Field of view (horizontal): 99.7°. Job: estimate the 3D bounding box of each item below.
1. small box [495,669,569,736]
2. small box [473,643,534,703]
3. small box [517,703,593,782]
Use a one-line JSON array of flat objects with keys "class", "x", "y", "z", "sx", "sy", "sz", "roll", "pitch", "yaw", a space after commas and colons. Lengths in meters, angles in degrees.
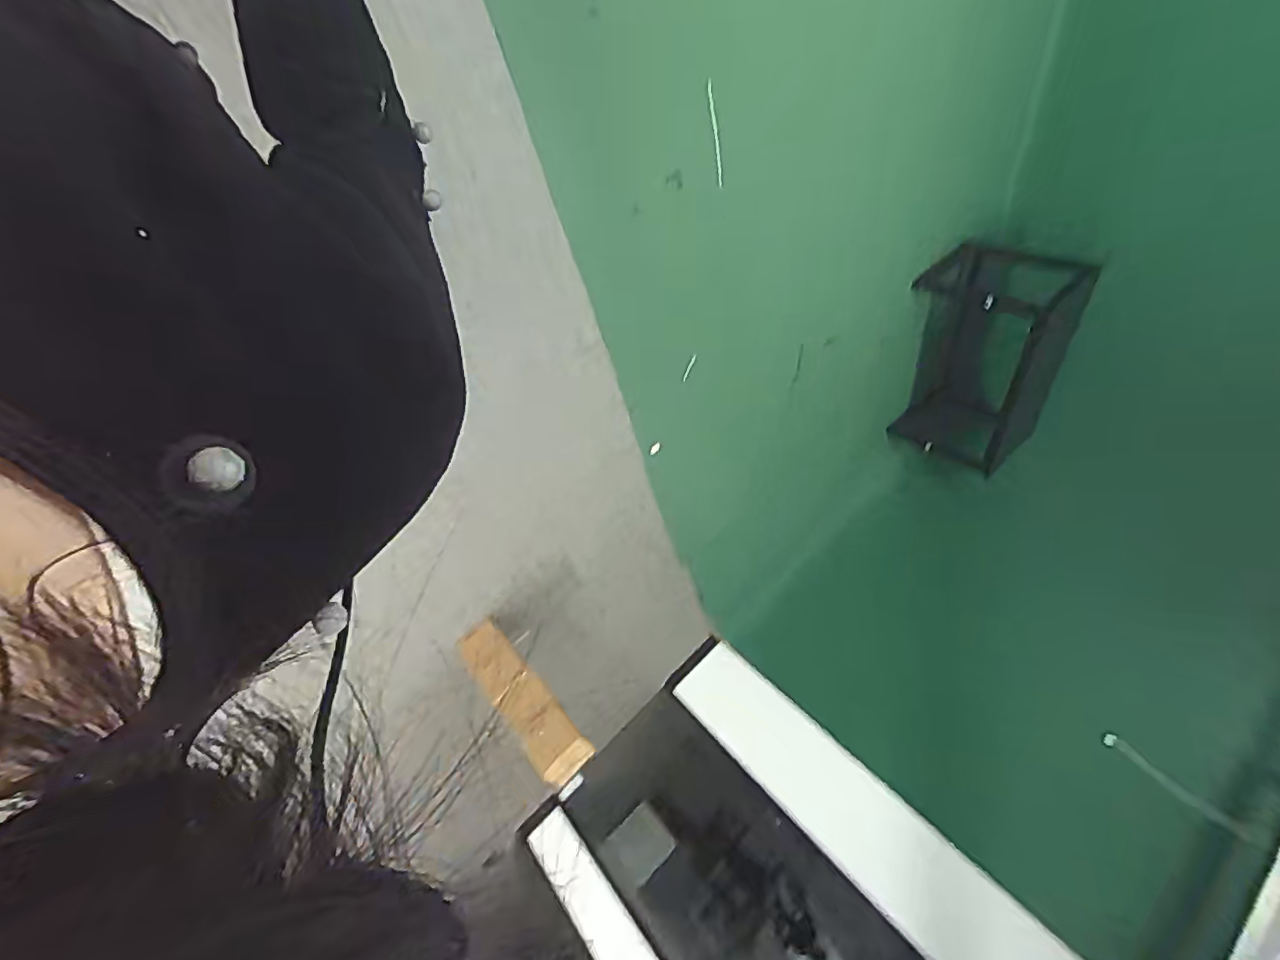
[{"class": "small box", "x": -0.399, "y": 0.833, "z": 1.988, "sx": 0.179, "sy": 0.176, "sz": 0.168, "roll": -40, "pitch": 140, "yaw": -16}, {"class": "small box", "x": -0.511, "y": 0.757, "z": 2.082, "sx": 0.168, "sy": 0.176, "sz": 0.179, "roll": -41, "pitch": 140, "yaw": -15}, {"class": "small box", "x": -0.296, "y": 0.912, "z": 1.886, "sx": 0.168, "sy": 0.176, "sz": 0.179, "roll": -42, "pitch": 141, "yaw": -16}]
